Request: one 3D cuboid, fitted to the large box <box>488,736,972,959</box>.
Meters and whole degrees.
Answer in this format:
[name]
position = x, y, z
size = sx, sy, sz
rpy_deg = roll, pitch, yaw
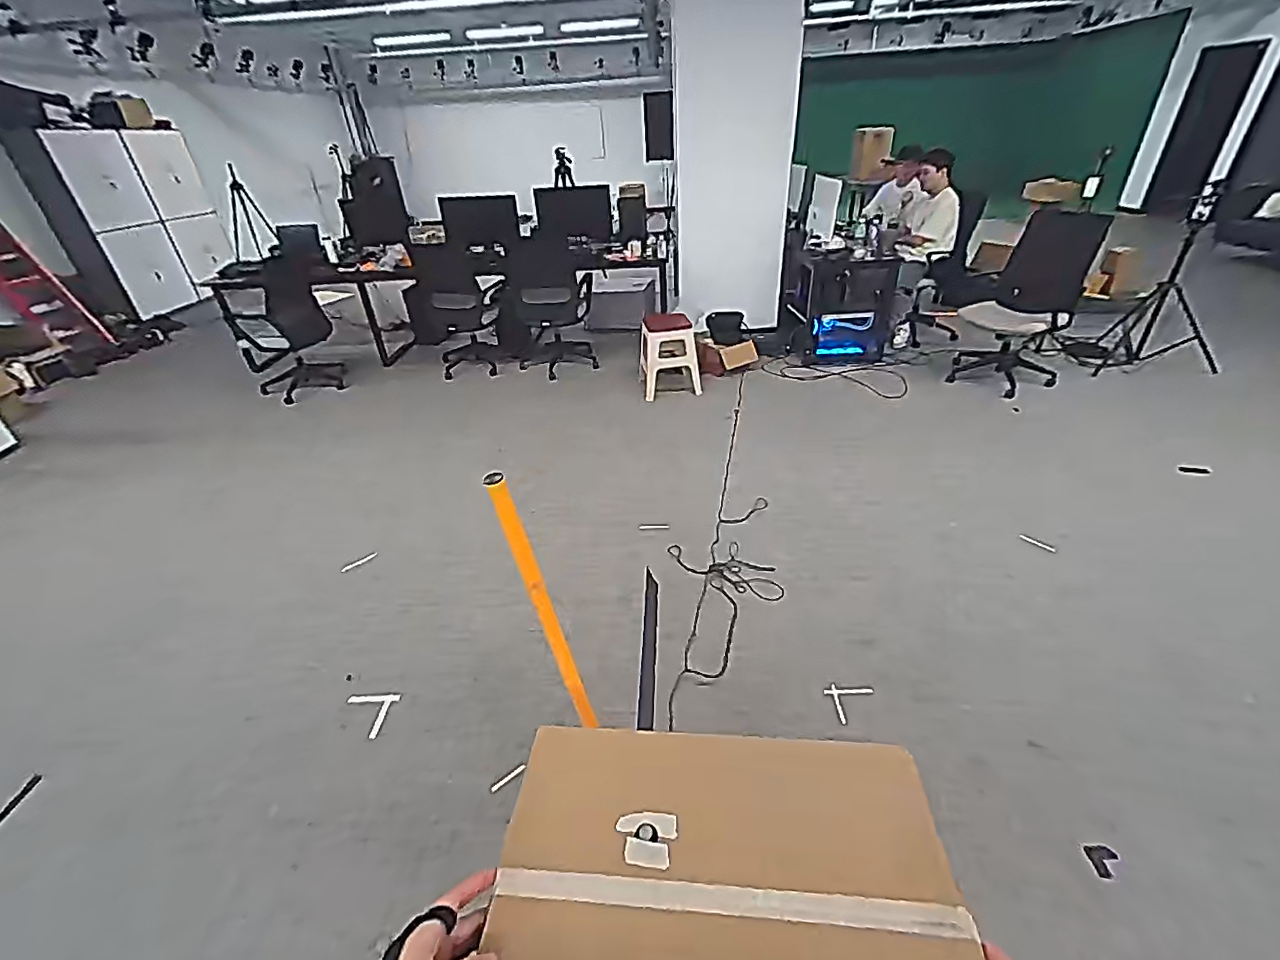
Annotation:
[large box]
position = 0.087, 0.499, 0.559
size = 0.408, 0.320, 0.320
rpy_deg = -1, 31, 7
